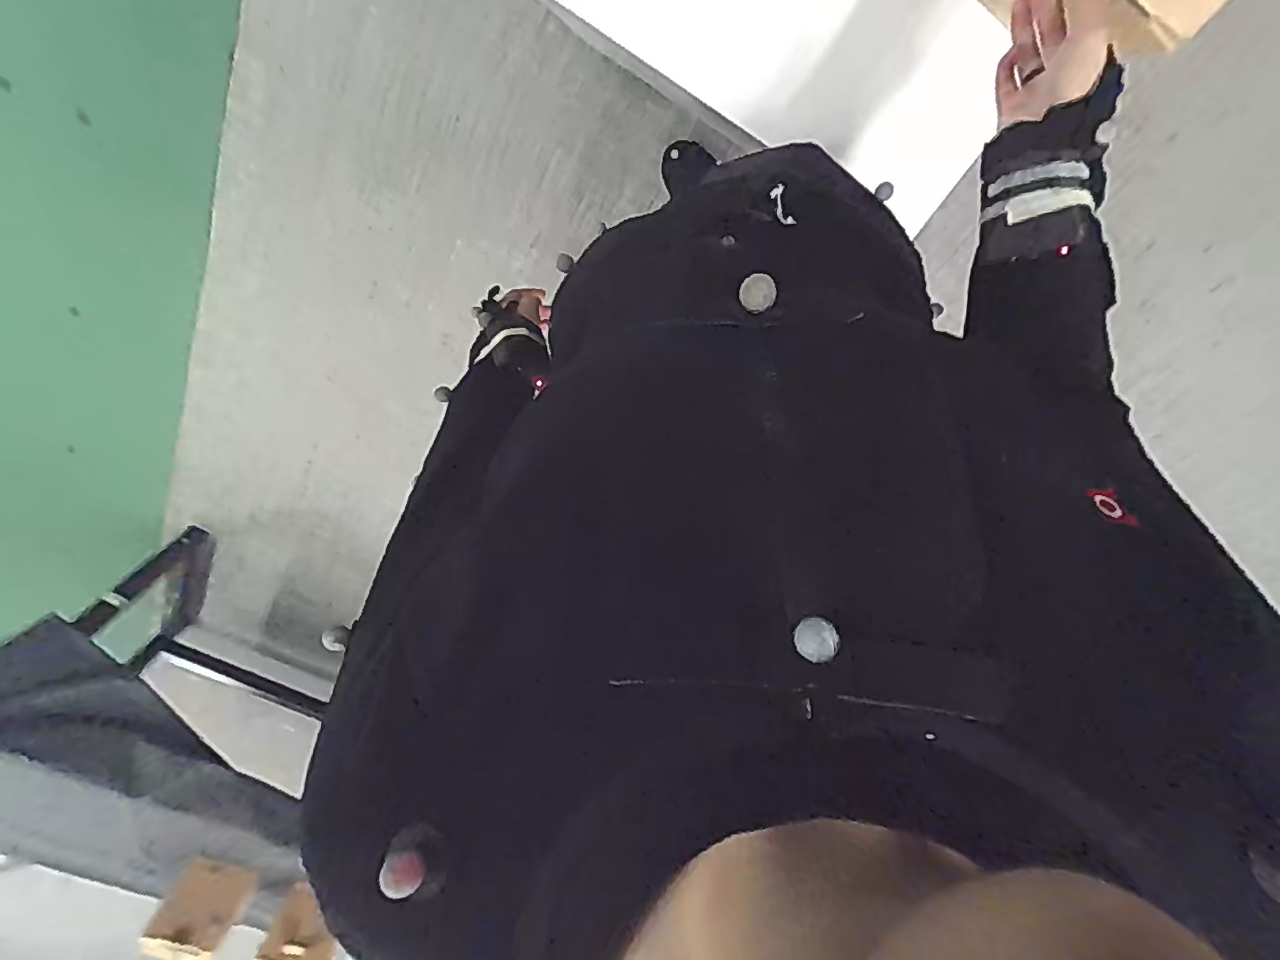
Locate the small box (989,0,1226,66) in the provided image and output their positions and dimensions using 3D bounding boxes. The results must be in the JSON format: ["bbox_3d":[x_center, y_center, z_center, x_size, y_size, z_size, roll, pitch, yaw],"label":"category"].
[{"bbox_3d":[0.365,-0.443,0.391,0.168,0.176,0.179,30,120,-15],"label":"small box"}]

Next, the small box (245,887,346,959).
[{"bbox_3d":[-0.881,1.188,1.386,0.168,0.176,0.179,21,122,-8],"label":"small box"}]
